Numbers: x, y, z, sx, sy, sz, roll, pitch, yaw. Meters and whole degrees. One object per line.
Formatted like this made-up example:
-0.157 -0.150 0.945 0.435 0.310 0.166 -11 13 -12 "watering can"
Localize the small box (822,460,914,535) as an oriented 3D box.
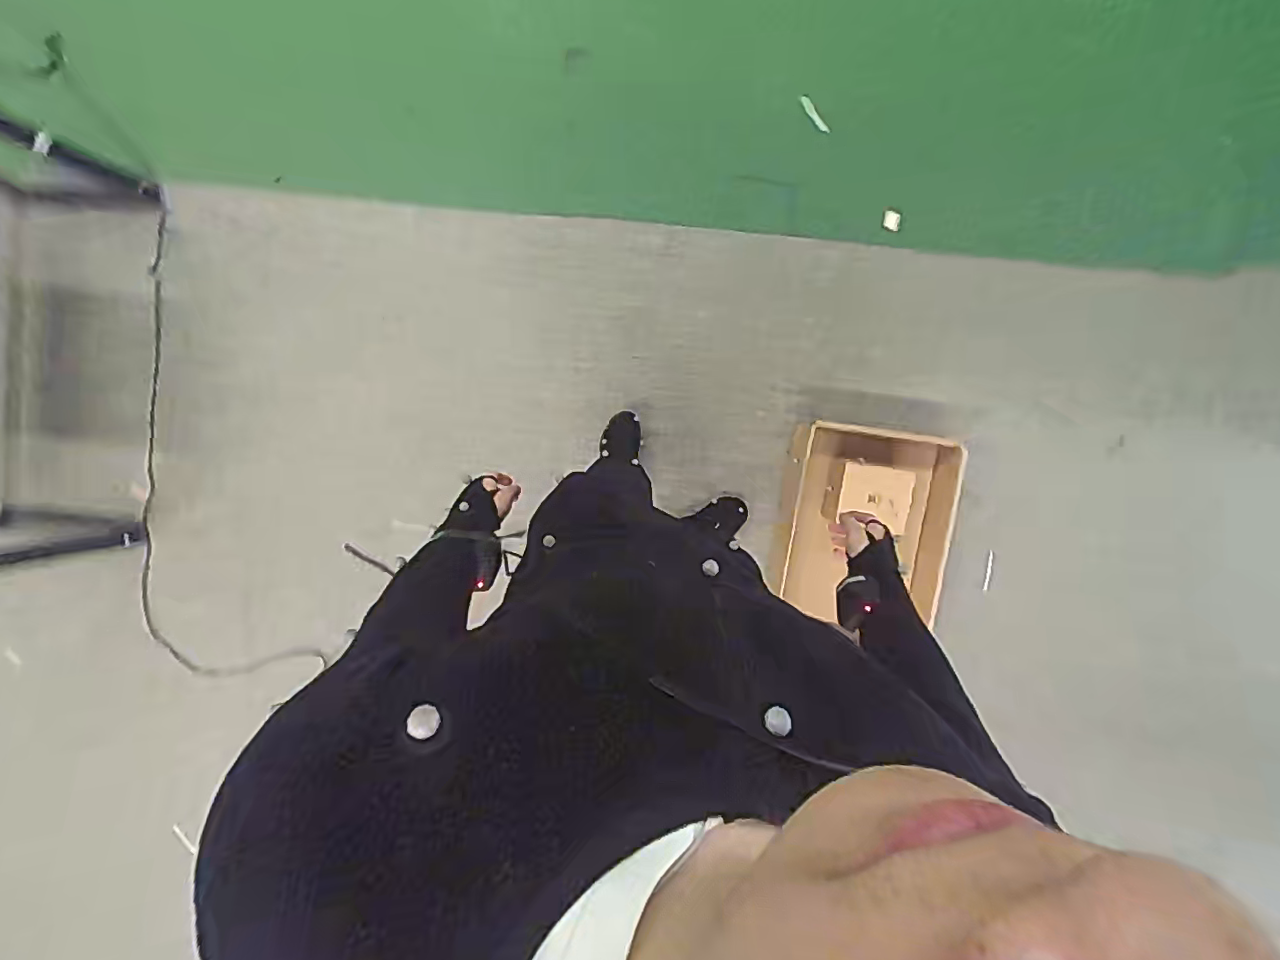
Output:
0.604 0.041 1.456 0.179 0.176 0.168 10 95 5 "small box"
